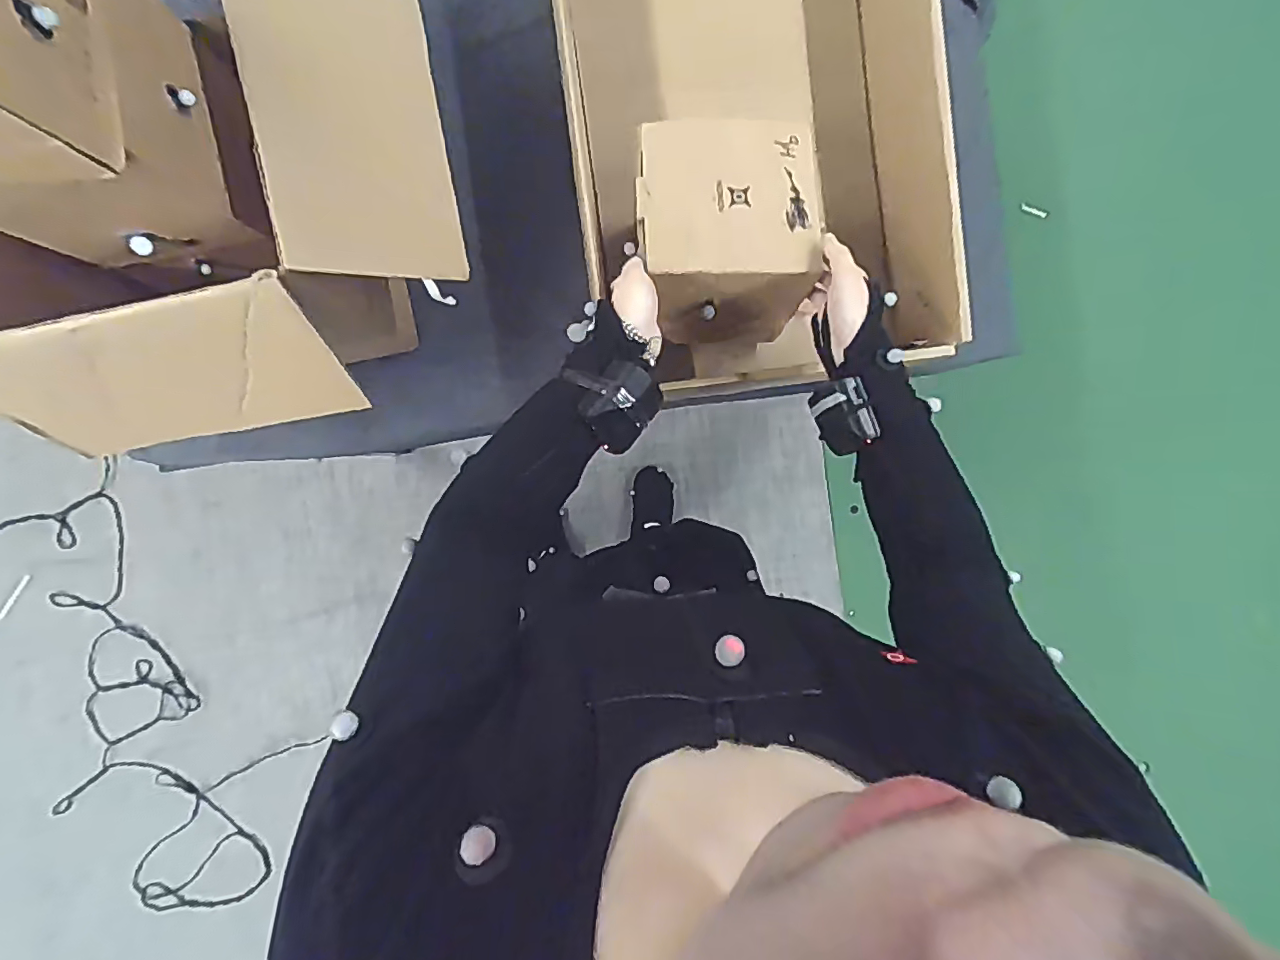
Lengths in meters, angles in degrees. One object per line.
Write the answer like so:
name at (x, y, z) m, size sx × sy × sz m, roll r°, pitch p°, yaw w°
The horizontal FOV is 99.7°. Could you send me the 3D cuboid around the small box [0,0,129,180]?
small box at (-0.452, -0.288, 0.301) m, size 0.179 × 0.176 × 0.168 m, roll -4°, pitch 94°, yaw -3°
